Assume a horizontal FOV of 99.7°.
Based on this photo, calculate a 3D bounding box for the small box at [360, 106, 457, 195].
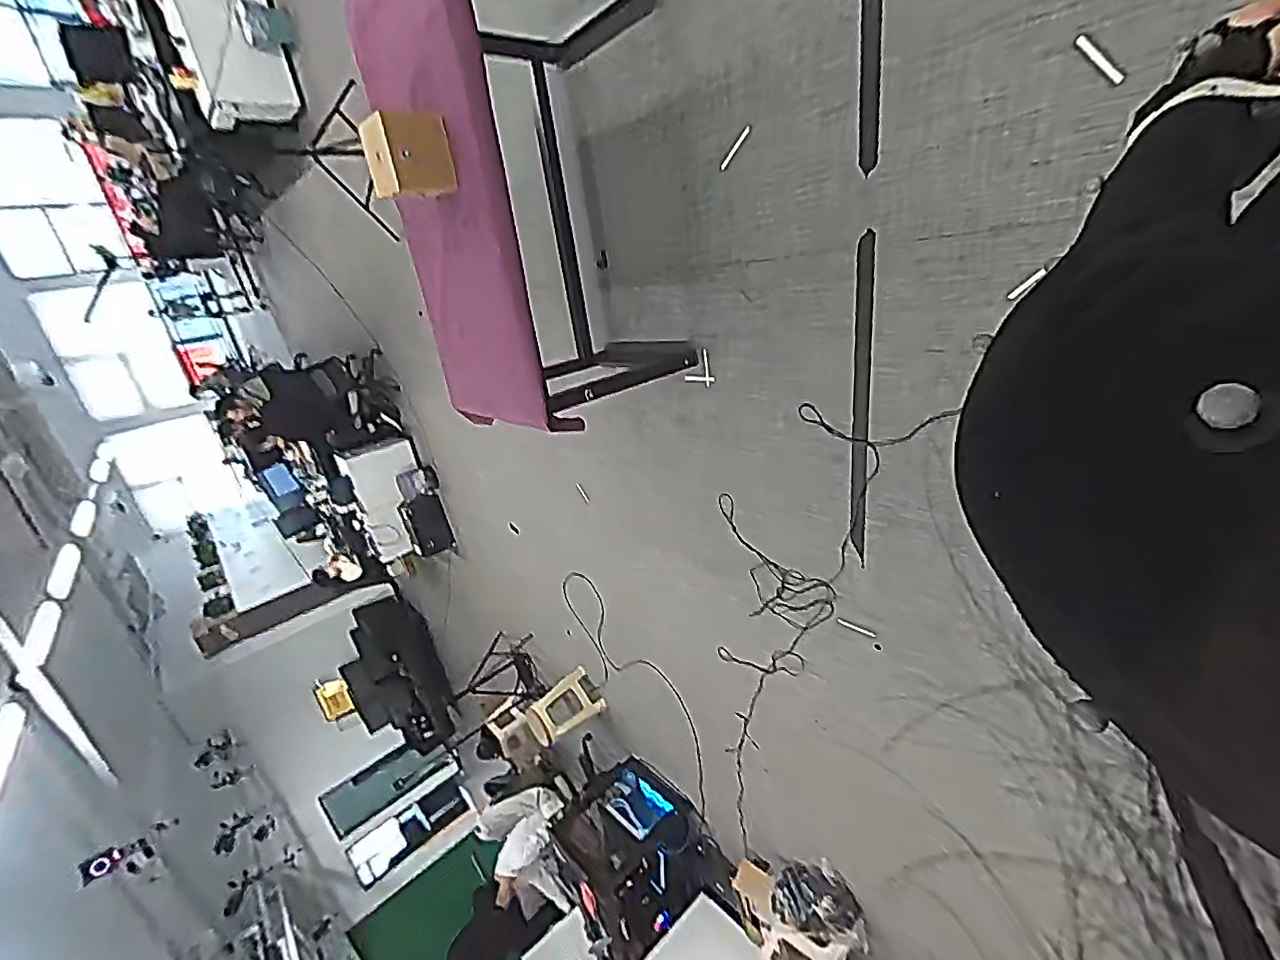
[{"bbox_3d":[-0.609,-0.869,1.436,0.168,0.176,0.179,18,124,44],"label":"small box"}]
